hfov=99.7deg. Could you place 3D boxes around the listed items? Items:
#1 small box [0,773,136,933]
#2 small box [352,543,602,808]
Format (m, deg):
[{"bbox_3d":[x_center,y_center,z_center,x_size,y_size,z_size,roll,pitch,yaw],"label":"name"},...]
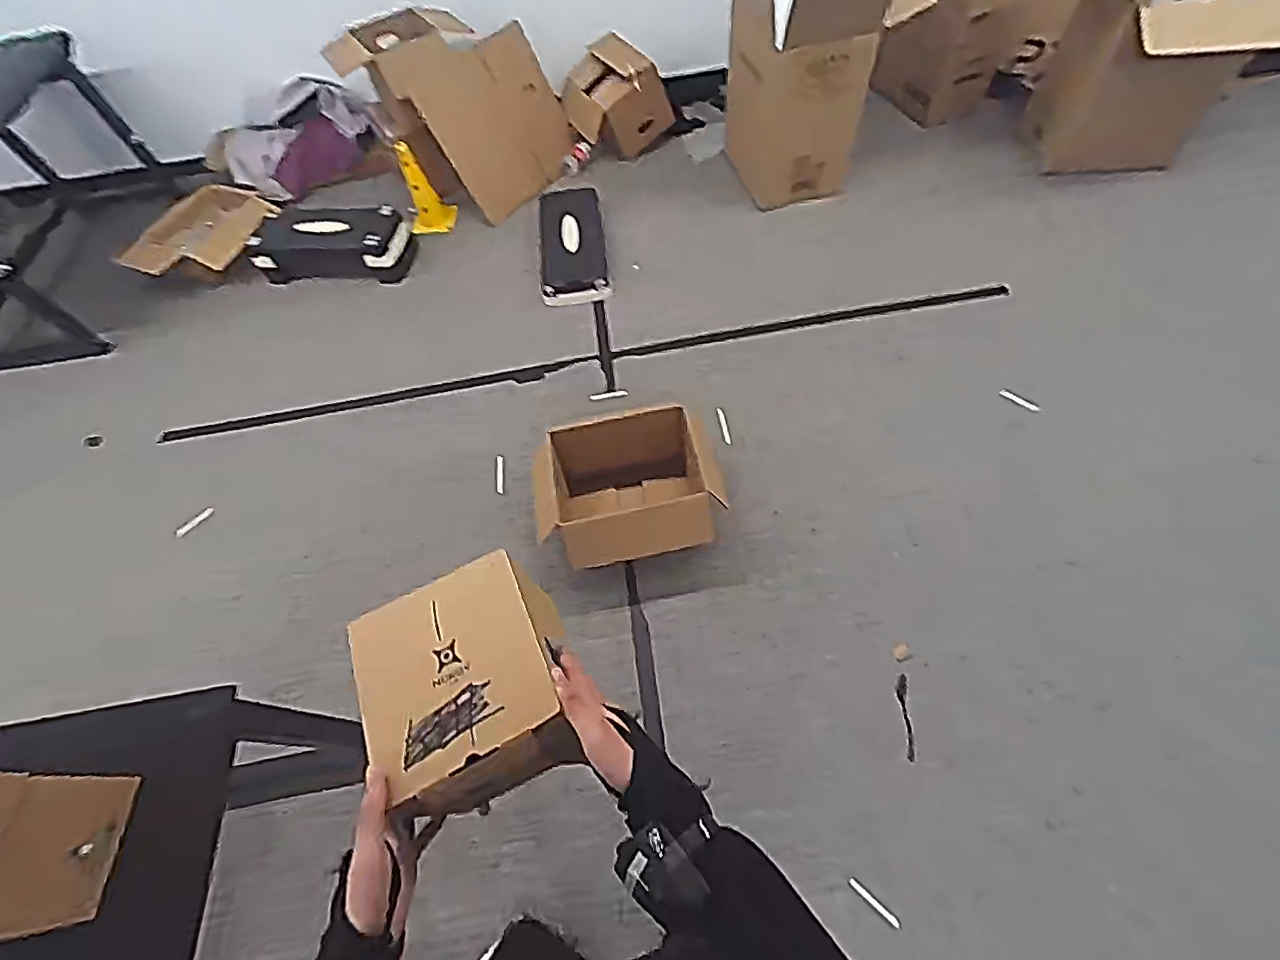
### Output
[{"bbox_3d":[-0.818,0.470,0.684,0.179,0.176,0.168,-6,61,3],"label":"small box"},{"bbox_3d":[-0.152,0.197,0.540,0.168,0.176,0.179,-25,58,-6],"label":"small box"}]
